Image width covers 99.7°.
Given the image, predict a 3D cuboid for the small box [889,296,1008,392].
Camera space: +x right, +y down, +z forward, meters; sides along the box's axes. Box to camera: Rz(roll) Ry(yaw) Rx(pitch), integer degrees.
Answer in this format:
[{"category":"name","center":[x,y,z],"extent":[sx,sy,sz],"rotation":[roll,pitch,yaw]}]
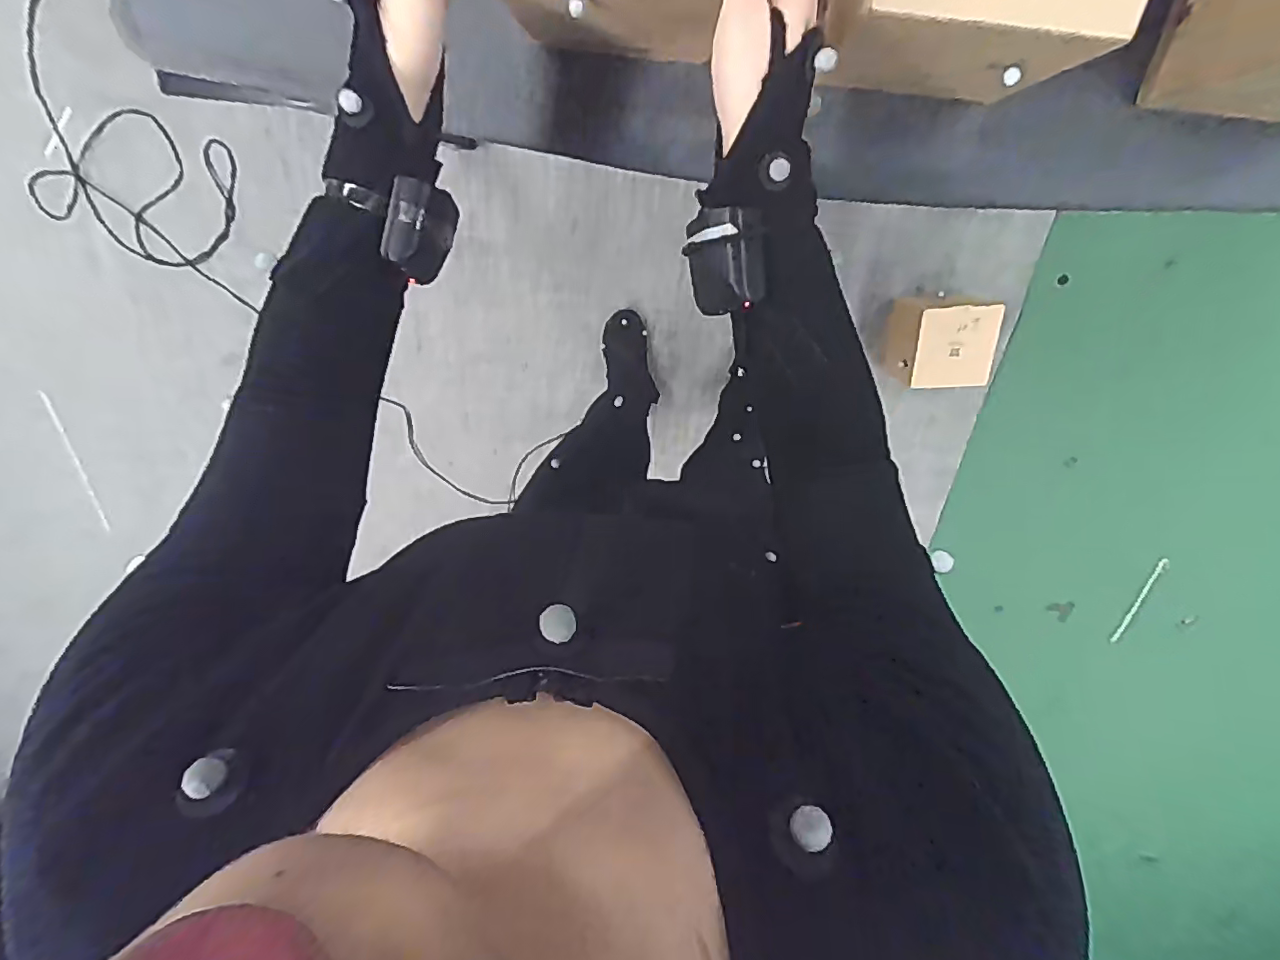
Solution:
[{"category":"small box","center":[0.679,-0.309,1.217],"extent":[0.168,0.176,0.179],"rotation":[-1,117,4]}]

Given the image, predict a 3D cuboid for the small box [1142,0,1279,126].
[{"category":"small box","center":[0.532,-0.364,0.378],"extent":[0.179,0.176,0.168],"rotation":[7,113,2]}]
